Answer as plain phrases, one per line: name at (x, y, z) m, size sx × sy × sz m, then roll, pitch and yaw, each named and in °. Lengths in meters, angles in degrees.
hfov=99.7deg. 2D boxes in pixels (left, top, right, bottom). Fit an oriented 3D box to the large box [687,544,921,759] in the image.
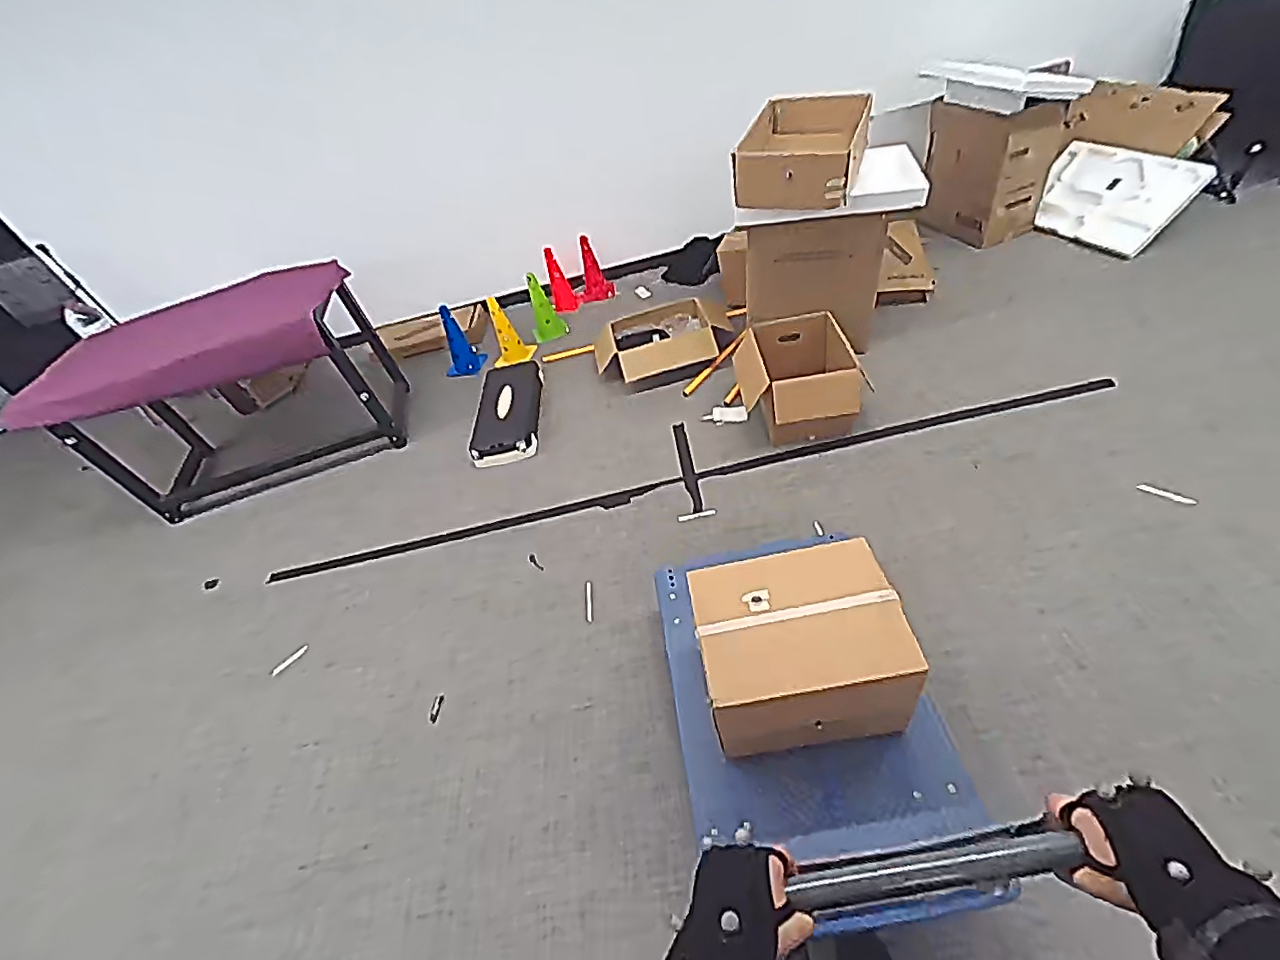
large box at (0.348, 0.394, 1.225) m, size 0.408 × 0.320 × 0.320 m, roll -13°, pitch 44°, yaw 5°
